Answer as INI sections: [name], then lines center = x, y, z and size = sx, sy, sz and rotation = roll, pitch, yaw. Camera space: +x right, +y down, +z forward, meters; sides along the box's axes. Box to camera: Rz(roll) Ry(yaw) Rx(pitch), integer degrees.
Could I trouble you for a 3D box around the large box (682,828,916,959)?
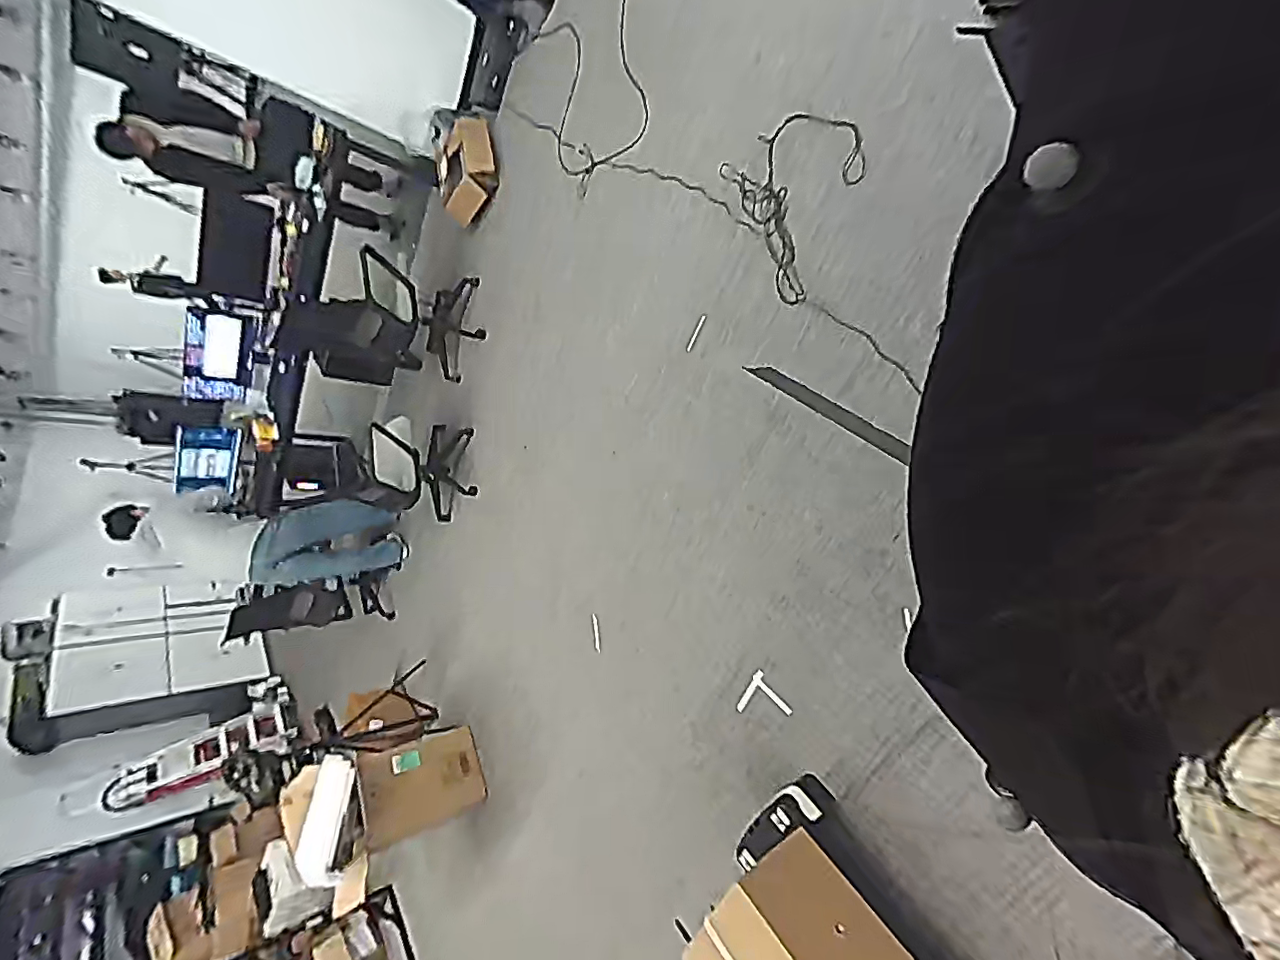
[large box]
center = 0.381, 1.145, 1.266
size = 0.408, 0.320, 0.320
rotation = 41, 116, 37
